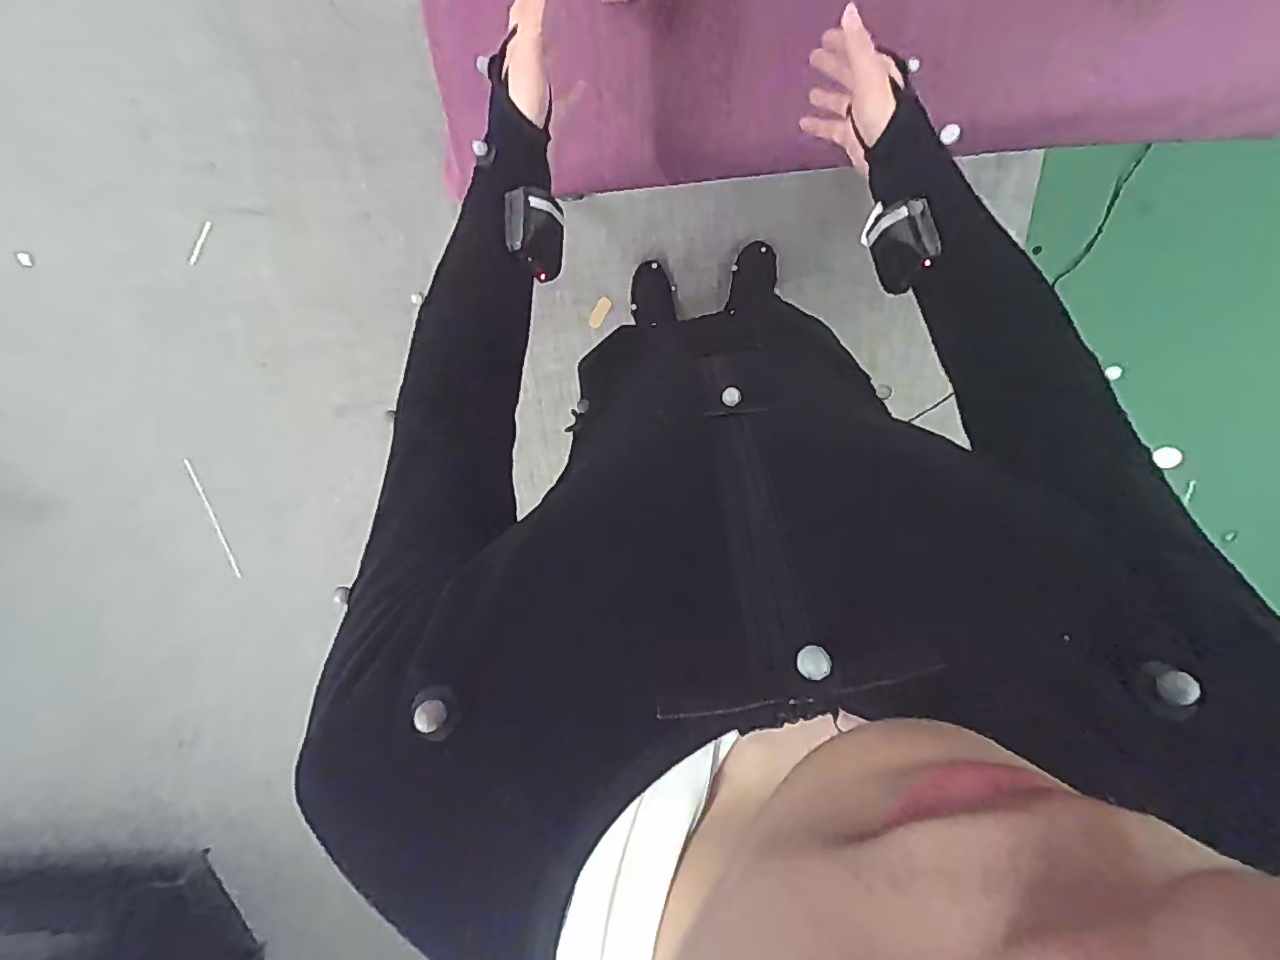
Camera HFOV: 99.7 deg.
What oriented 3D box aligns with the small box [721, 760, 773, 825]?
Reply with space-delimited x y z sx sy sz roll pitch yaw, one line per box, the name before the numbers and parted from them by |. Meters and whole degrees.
small box | 0.429 1.260 2.185 0.179 0.176 0.168 2 114 3
